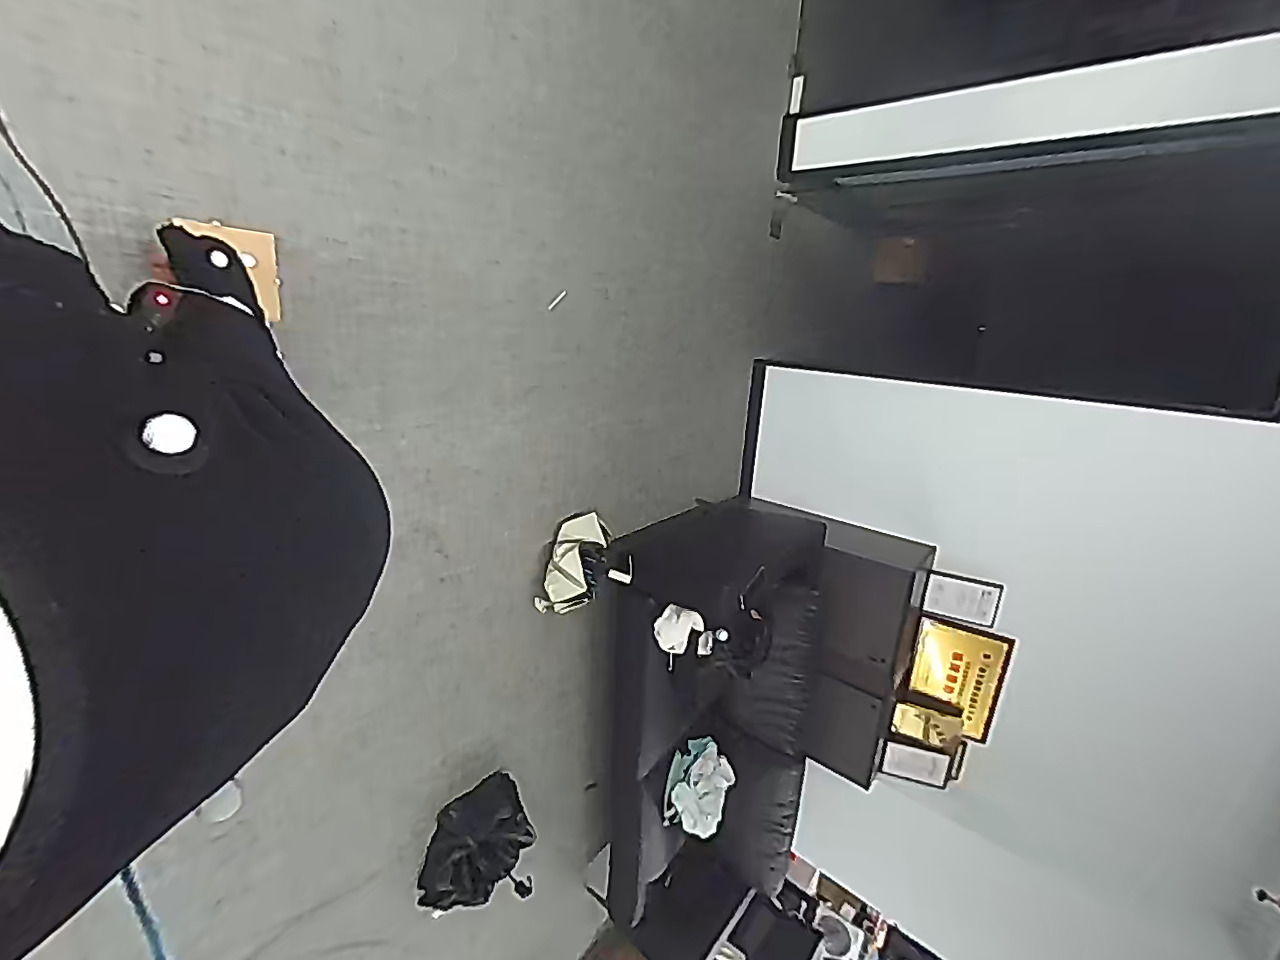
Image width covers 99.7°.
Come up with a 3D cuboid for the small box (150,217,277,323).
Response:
[{"bbox_3d":[-0.876,-0.427,1.115,0.168,0.176,0.179,-14,114,-50],"label":"small box"}]
